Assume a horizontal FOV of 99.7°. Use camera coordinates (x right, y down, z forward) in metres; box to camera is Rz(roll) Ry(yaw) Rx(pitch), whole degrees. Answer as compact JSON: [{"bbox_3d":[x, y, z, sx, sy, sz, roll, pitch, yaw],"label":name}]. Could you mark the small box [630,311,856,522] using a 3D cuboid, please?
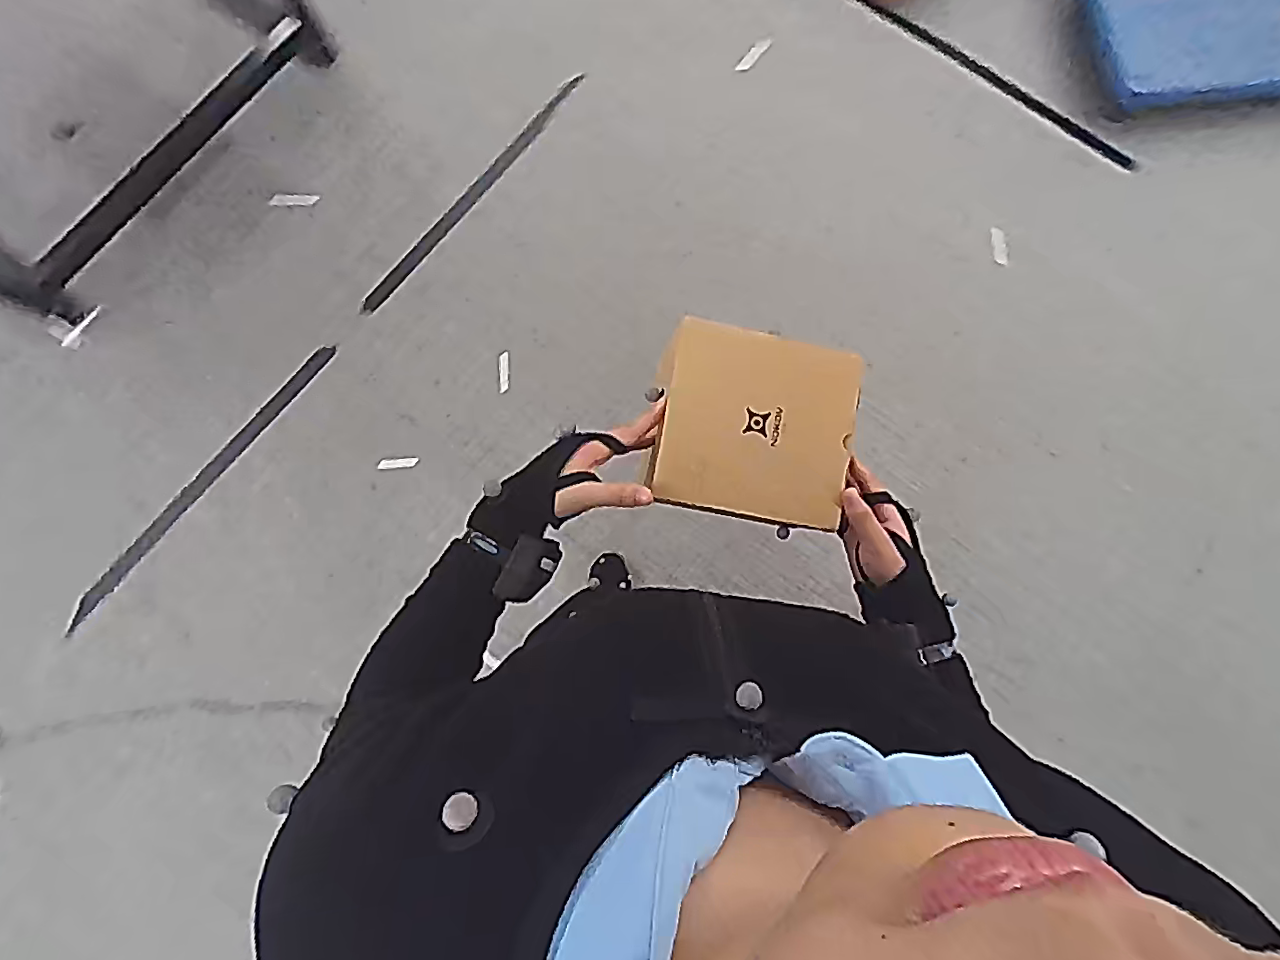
[{"bbox_3d":[0.090,-0.052,0.556,0.179,0.176,0.168,10,87,-7],"label":"small box"}]
